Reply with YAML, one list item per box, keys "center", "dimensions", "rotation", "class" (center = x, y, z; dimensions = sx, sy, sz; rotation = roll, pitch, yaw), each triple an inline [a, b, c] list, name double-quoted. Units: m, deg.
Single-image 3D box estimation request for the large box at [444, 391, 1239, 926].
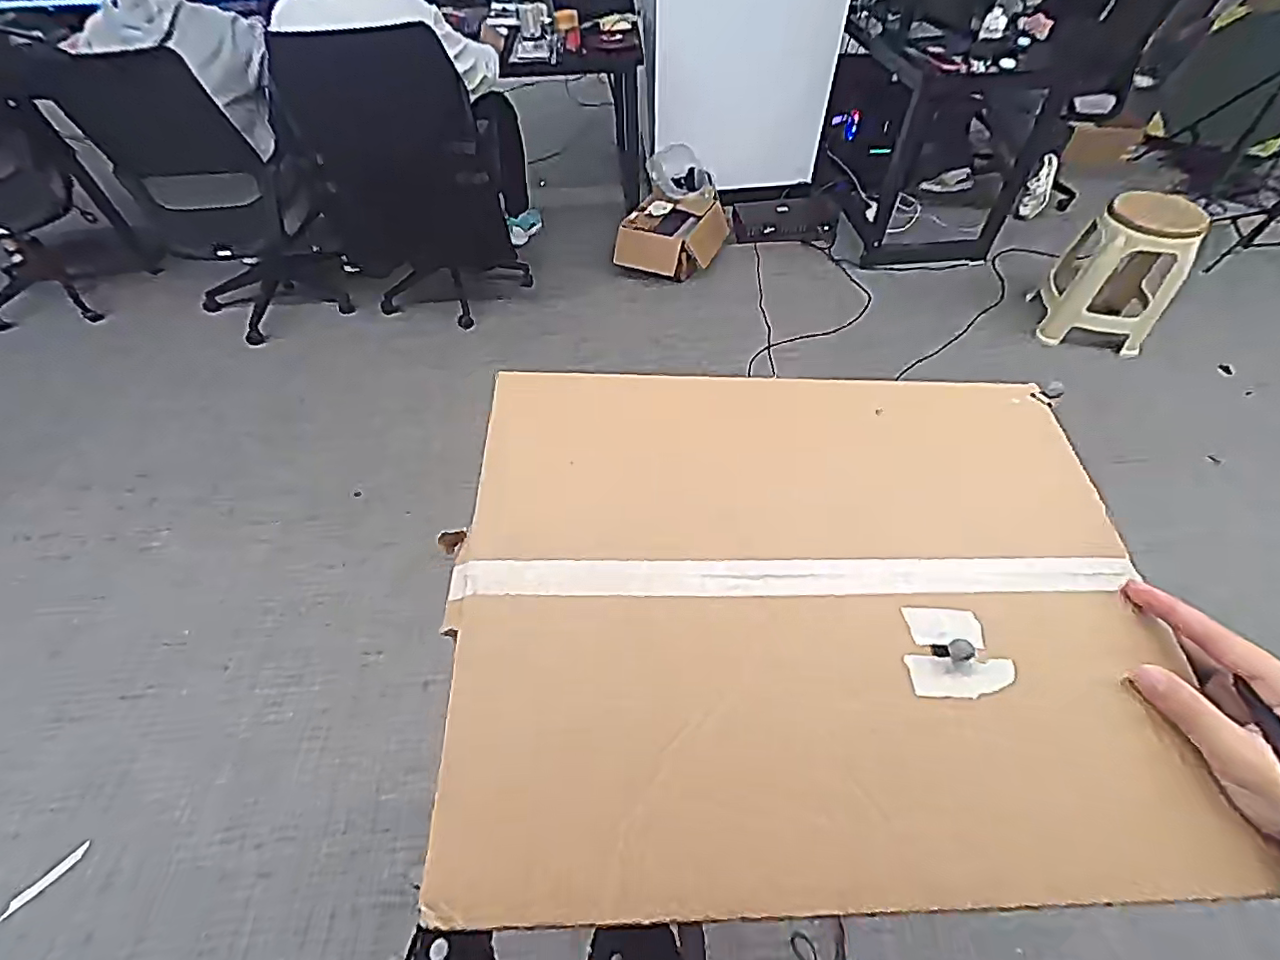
- center: [0.089, 0.143, 0.459]
  dimensions: [0.408, 0.320, 0.320]
  rotation: [1, 59, -4]
  class: "large box"
